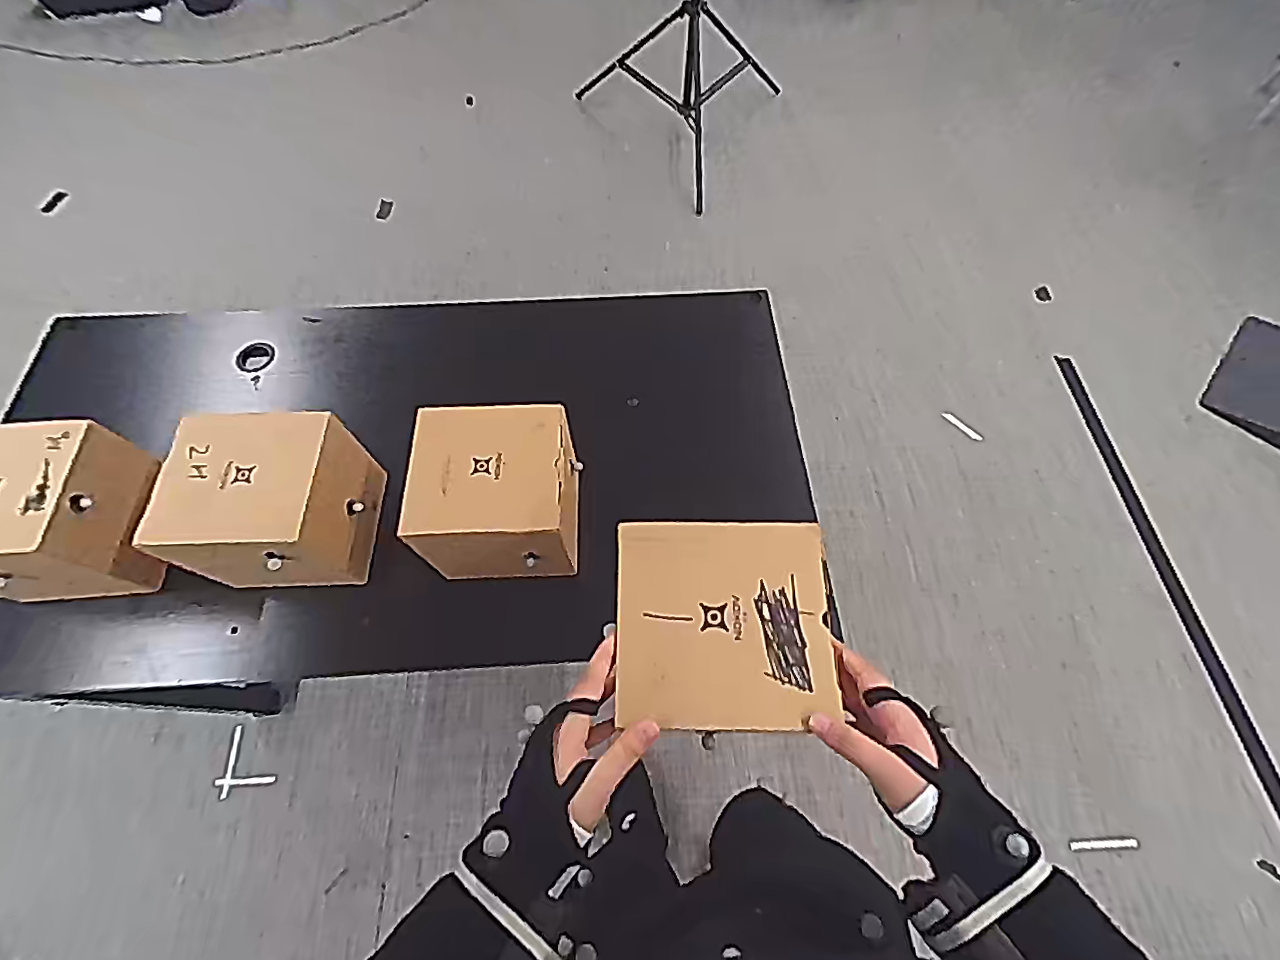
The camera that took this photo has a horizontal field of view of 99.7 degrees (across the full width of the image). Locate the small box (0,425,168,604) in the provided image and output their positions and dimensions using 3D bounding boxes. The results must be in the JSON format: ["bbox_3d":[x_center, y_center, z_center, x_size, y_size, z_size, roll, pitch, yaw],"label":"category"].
[{"bbox_3d":[-0.724,0.050,0.671,0.179,0.176,0.168,-5,64,-2],"label":"small box"}]

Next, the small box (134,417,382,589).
[{"bbox_3d":[-0.451,0.035,0.678,0.179,0.176,0.168,-2,64,-1],"label":"small box"}]

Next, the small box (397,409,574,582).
[{"bbox_3d":[-0.178,0.026,0.686,0.179,0.176,0.168,-3,63,-1],"label":"small box"}]

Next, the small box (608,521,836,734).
[{"bbox_3d":[0.064,0.144,0.512,0.179,0.176,0.168,1,66,1],"label":"small box"}]
